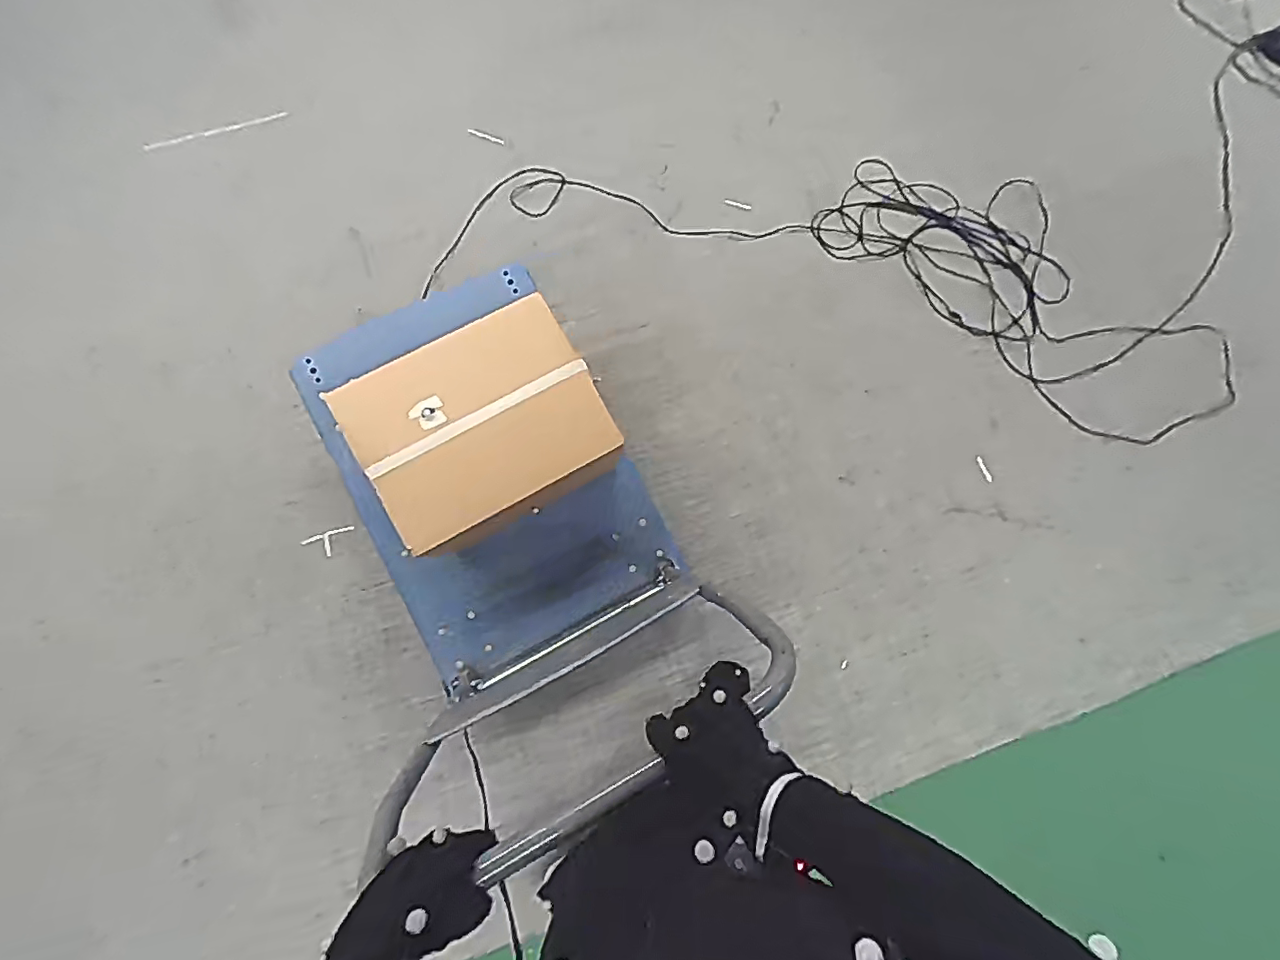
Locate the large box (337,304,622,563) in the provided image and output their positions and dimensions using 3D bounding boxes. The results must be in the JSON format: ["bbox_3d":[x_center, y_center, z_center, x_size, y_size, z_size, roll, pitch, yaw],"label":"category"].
[{"bbox_3d":[-0.286,-0.076,1.086,0.408,0.320,0.320,-30,86,-7],"label":"large box"}]
